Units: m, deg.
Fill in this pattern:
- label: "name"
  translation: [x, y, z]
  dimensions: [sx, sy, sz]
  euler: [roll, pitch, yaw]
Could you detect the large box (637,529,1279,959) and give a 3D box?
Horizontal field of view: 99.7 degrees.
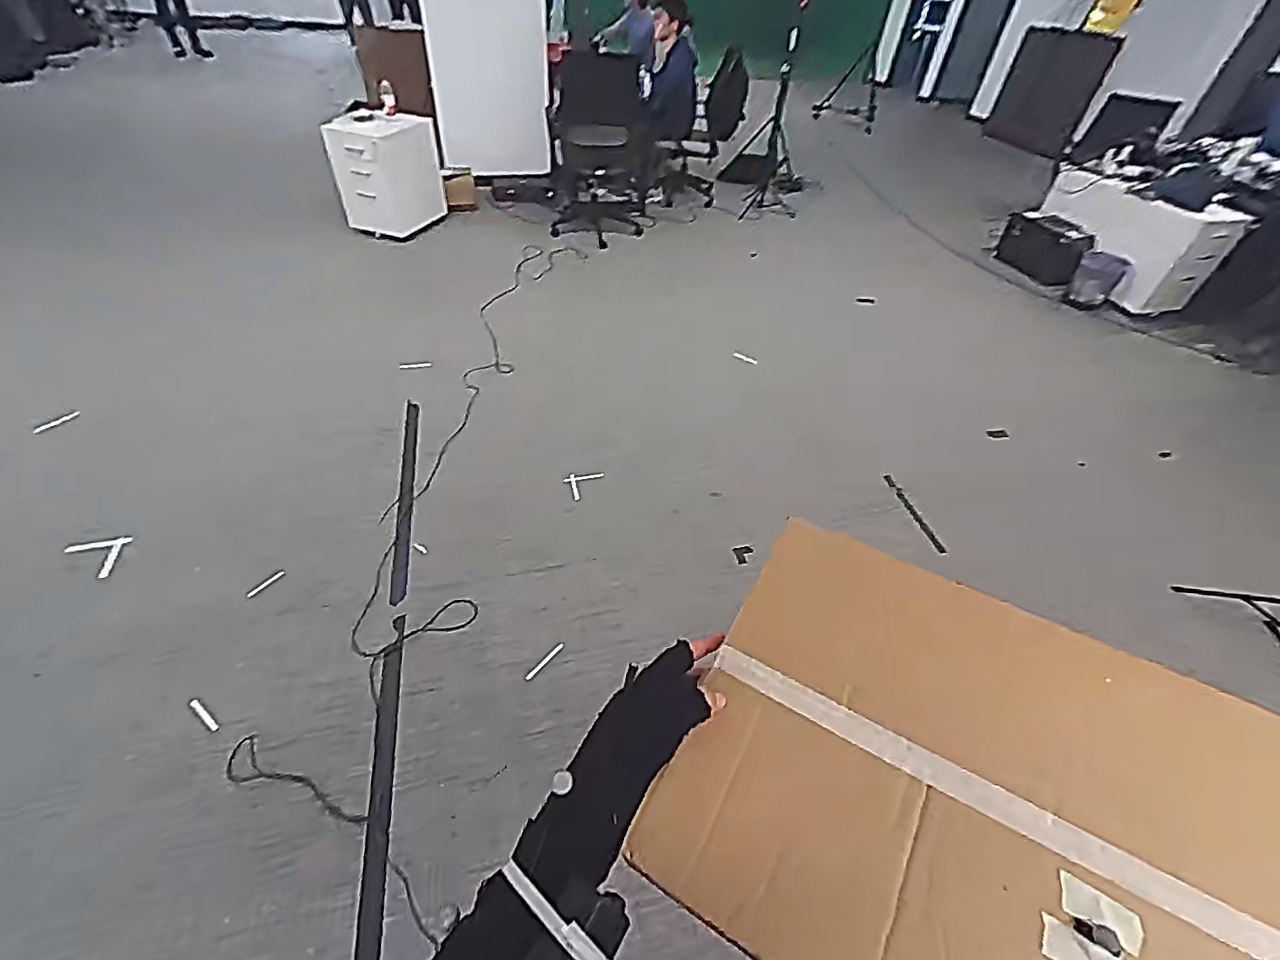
- label: "large box"
  translation: [0.250, 0.313, 0.499]
  dimensions: [0.408, 0.320, 0.320]
  euler: [24, 59, 22]
